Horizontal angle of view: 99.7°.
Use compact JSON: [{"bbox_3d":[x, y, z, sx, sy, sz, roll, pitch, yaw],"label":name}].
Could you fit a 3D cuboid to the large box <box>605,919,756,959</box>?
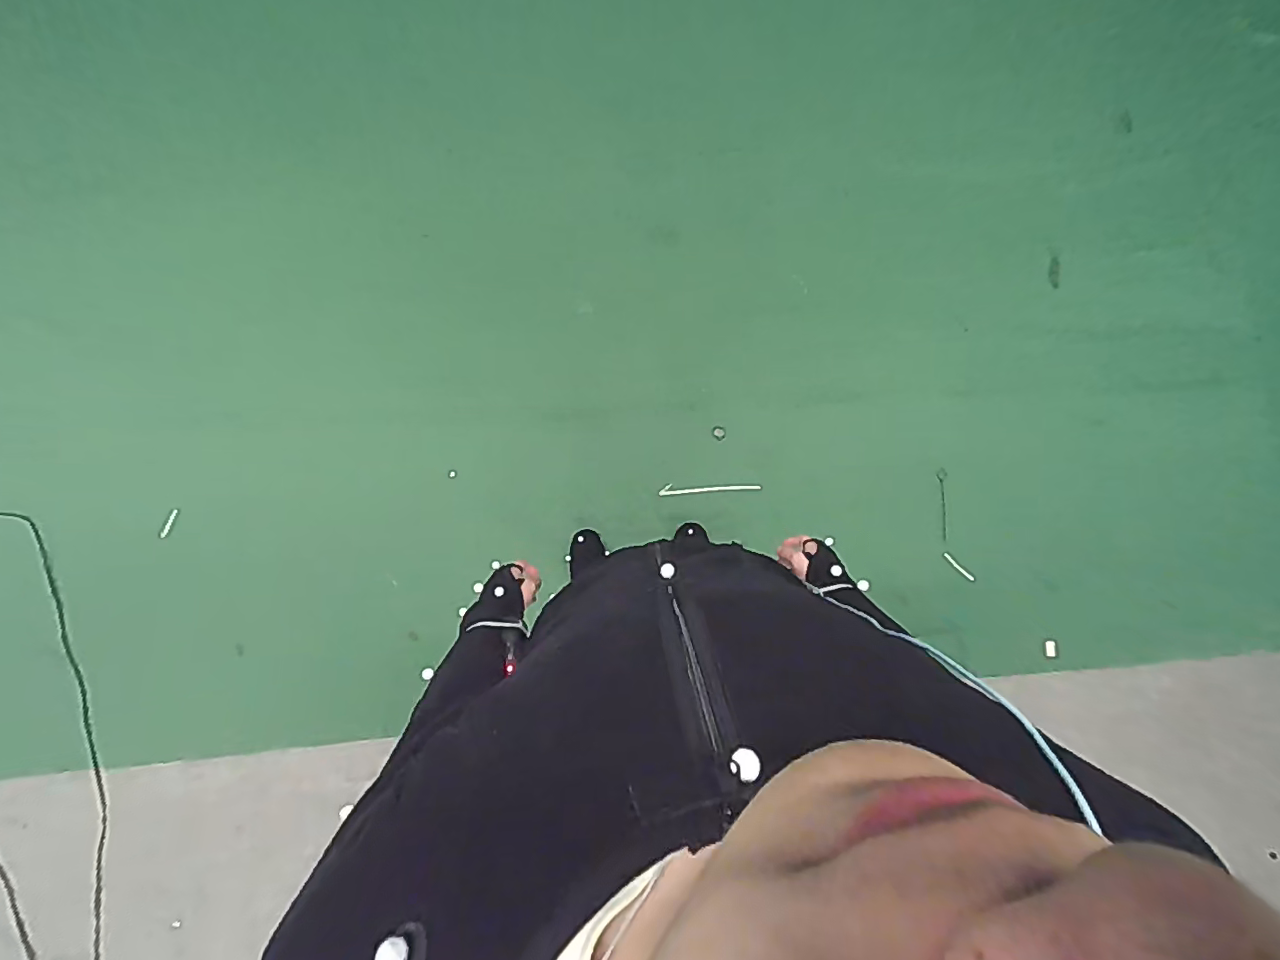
[{"bbox_3d":[0.123,1.427,1.396,0.408,0.320,0.320,-7,85,-3],"label":"large box"}]
